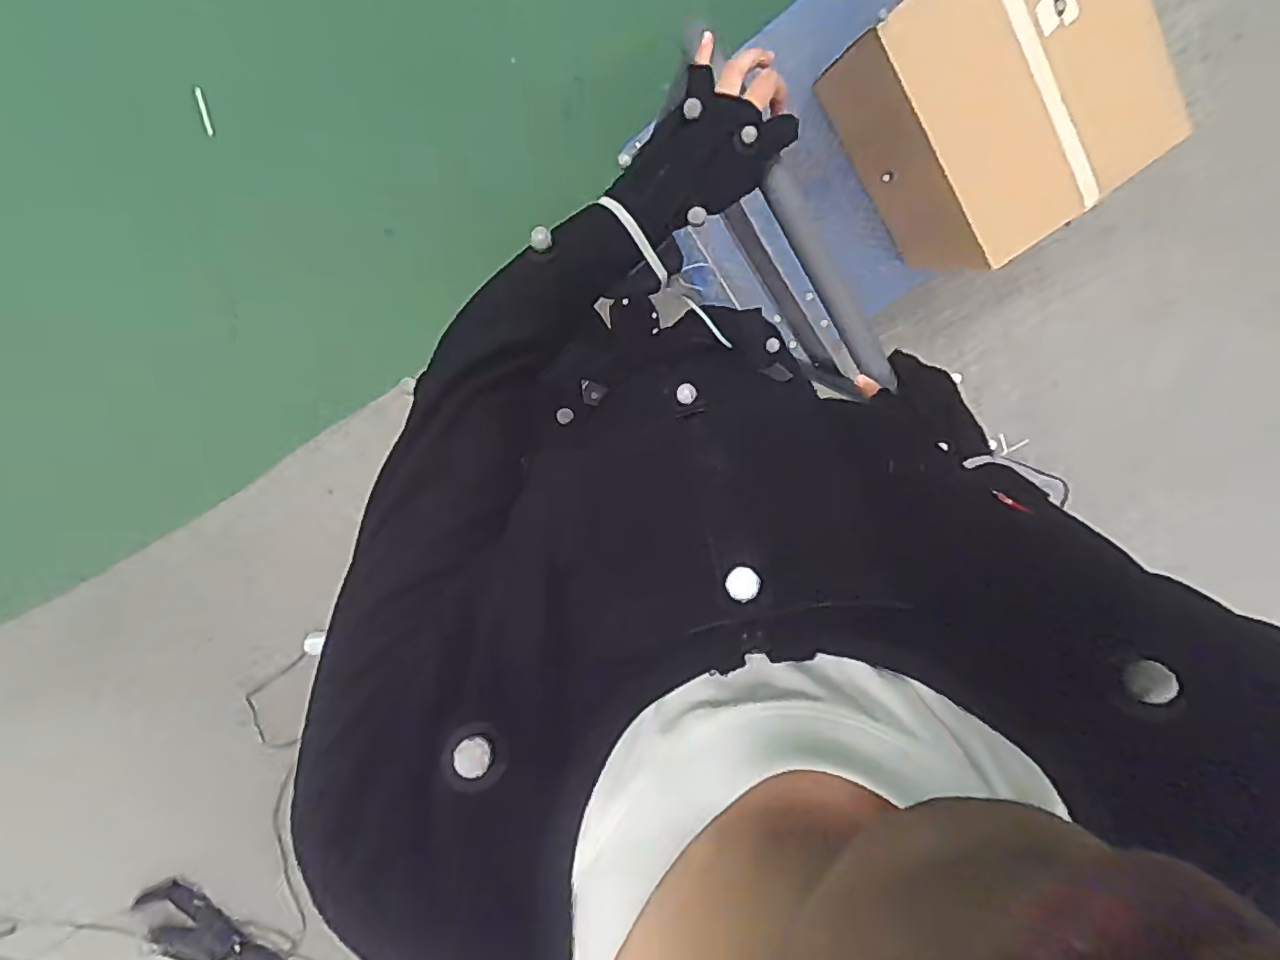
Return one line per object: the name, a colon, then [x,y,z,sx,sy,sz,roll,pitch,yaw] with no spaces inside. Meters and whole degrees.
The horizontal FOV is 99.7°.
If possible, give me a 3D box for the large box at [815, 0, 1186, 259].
large box: [0.566,-0.640,0.912,0.320,0.320,0.408,-36,107,14]
